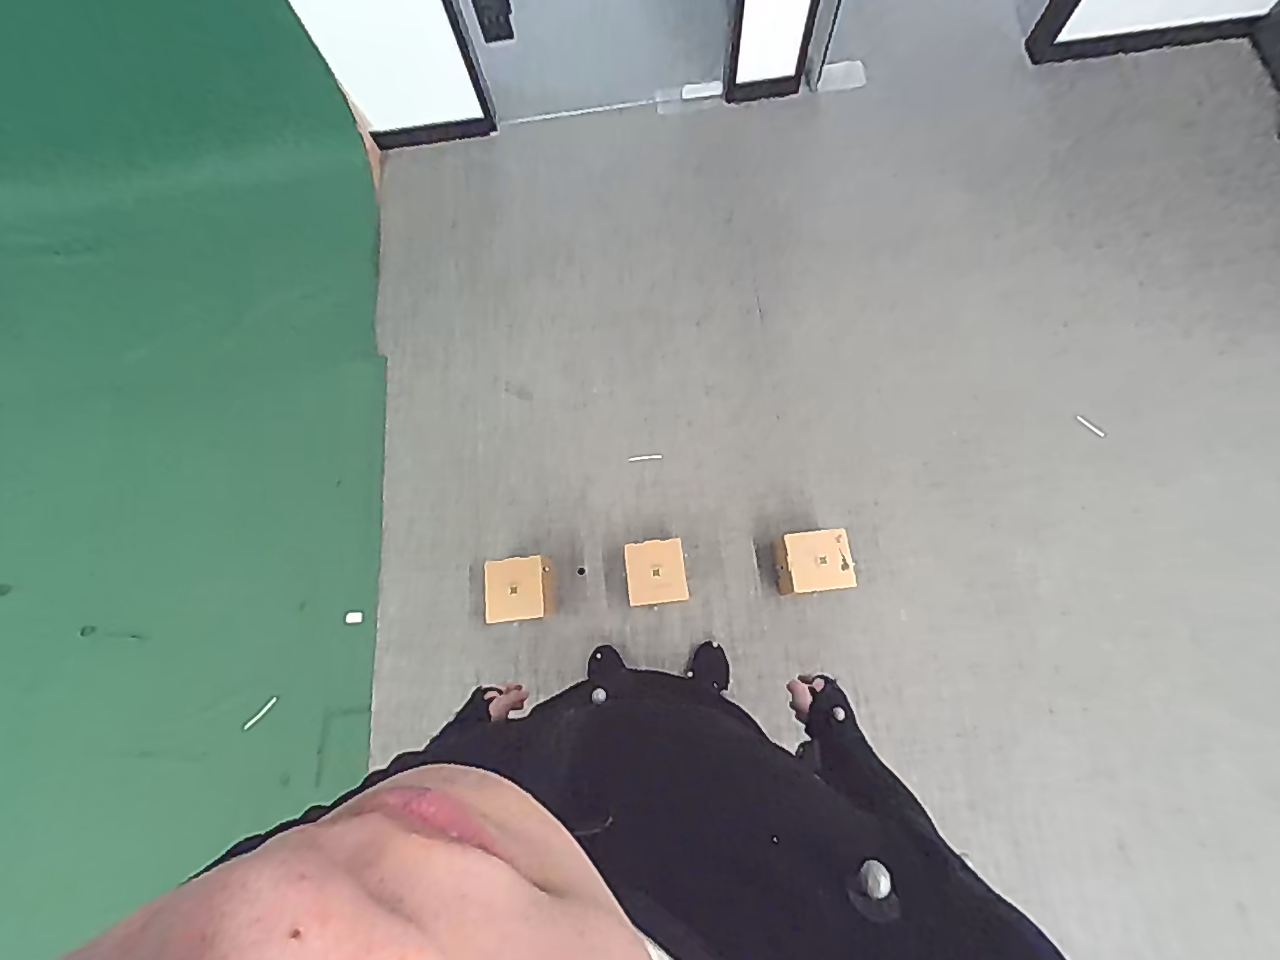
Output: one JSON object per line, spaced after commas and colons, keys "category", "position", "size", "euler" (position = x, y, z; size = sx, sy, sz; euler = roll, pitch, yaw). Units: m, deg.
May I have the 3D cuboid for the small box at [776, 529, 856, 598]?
{"category": "small box", "position": [0.495, 0.245, 1.554], "size": [0.179, 0.176, 0.168], "euler": [-6, 75, 2]}

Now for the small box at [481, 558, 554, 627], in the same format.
{"category": "small box", "position": [-0.352, 0.332, 1.575], "size": [0.168, 0.176, 0.179], "euler": [-7, 73, 1]}

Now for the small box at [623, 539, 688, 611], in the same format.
{"category": "small box", "position": [0.045, 0.280, 1.568], "size": [0.168, 0.176, 0.179], "euler": [-7, 74, 2]}
